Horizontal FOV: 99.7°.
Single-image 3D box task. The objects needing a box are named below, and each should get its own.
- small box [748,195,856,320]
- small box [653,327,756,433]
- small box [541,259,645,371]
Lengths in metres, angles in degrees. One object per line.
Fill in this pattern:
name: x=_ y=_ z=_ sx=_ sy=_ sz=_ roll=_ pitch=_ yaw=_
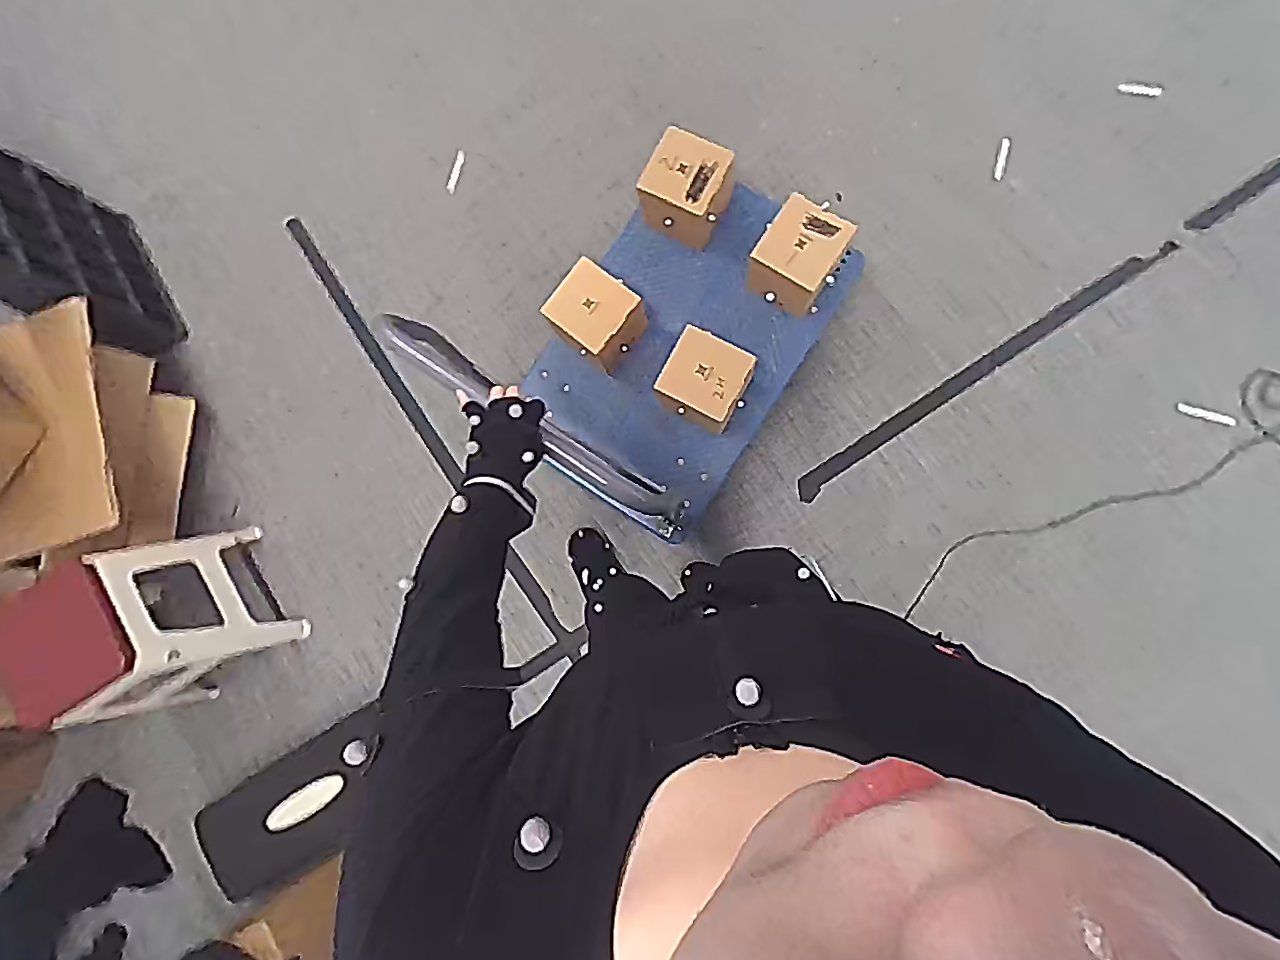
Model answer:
small box: x=0.368 y=-0.513 z=1.270 sx=0.168 sy=0.176 sz=0.179 roll=35 pitch=91 yaw=8
small box: x=0.150 y=-0.225 z=1.271 sx=0.179 sy=0.176 sz=0.168 roll=29 pitch=89 yaw=8
small box: x=-0.106 y=-0.390 z=1.315 sx=0.179 sy=0.176 sz=0.168 roll=38 pitch=90 yaw=6
